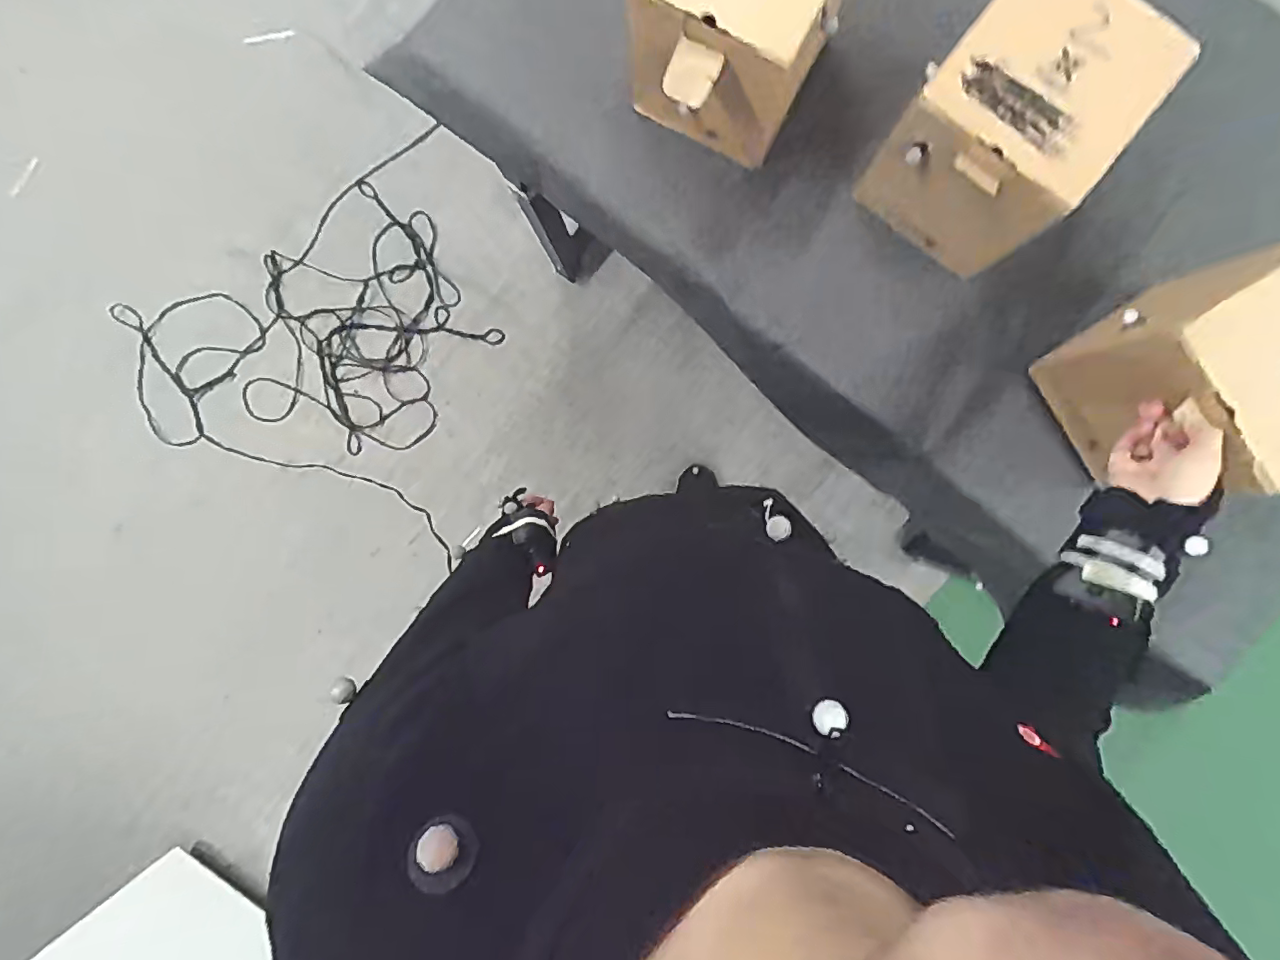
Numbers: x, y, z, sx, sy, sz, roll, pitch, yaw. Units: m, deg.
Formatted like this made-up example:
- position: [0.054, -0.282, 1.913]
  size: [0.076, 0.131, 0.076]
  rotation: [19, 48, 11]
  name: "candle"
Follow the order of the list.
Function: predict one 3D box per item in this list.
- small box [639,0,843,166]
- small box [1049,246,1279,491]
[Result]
- position: [0.105, -0.472, 0.550]
  size: [0.168, 0.176, 0.179]
  rotation: [28, 92, 1]
  name: "small box"
- position: [0.556, -0.101, 0.531]
  size: [0.179, 0.176, 0.168]
  rotation: [-32, 92, -3]
  name: "small box"
